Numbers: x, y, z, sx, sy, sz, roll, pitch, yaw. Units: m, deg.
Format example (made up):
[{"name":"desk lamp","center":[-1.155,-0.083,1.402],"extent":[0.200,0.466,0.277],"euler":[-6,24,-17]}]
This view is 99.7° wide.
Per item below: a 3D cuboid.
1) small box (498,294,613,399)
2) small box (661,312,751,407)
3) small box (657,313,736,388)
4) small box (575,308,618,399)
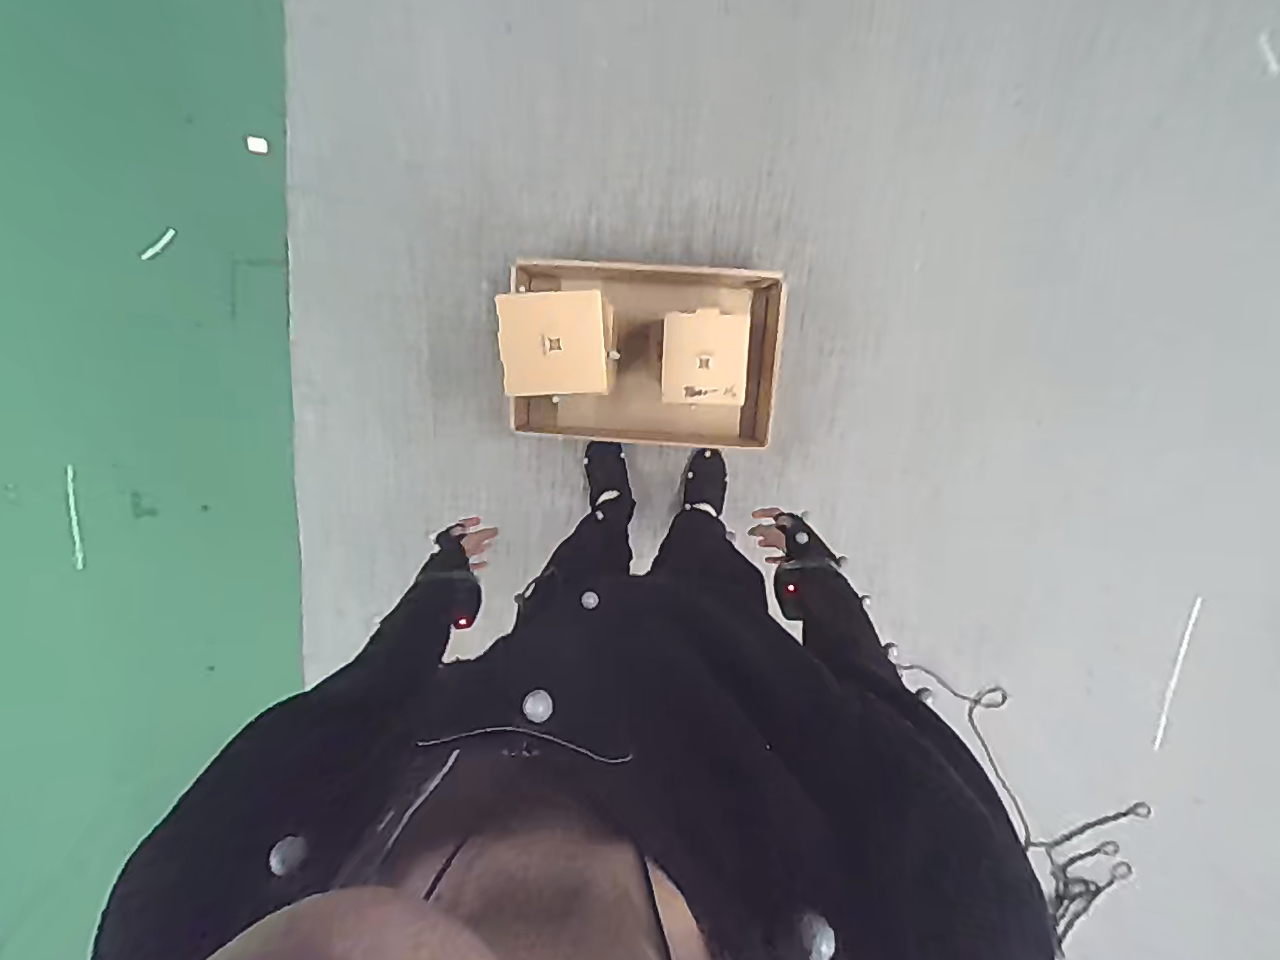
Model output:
[{"name":"small box","center":[-0.141,-0.238,0.971],"extent":[0.179,0.176,0.168],"euler":[-3,103,2]},{"name":"small box","center":[0.130,-0.246,1.126],"extent":[0.168,0.176,0.179],"euler":[3,101,2]},{"name":"small box","center":[0.131,-0.301,1.282],"extent":[0.179,0.176,0.168],"euler":[-1,102,3]},{"name":"small box","center":[-0.135,-0.269,1.131],"extent":[0.168,0.176,0.179],"euler":[4,102,0]}]
